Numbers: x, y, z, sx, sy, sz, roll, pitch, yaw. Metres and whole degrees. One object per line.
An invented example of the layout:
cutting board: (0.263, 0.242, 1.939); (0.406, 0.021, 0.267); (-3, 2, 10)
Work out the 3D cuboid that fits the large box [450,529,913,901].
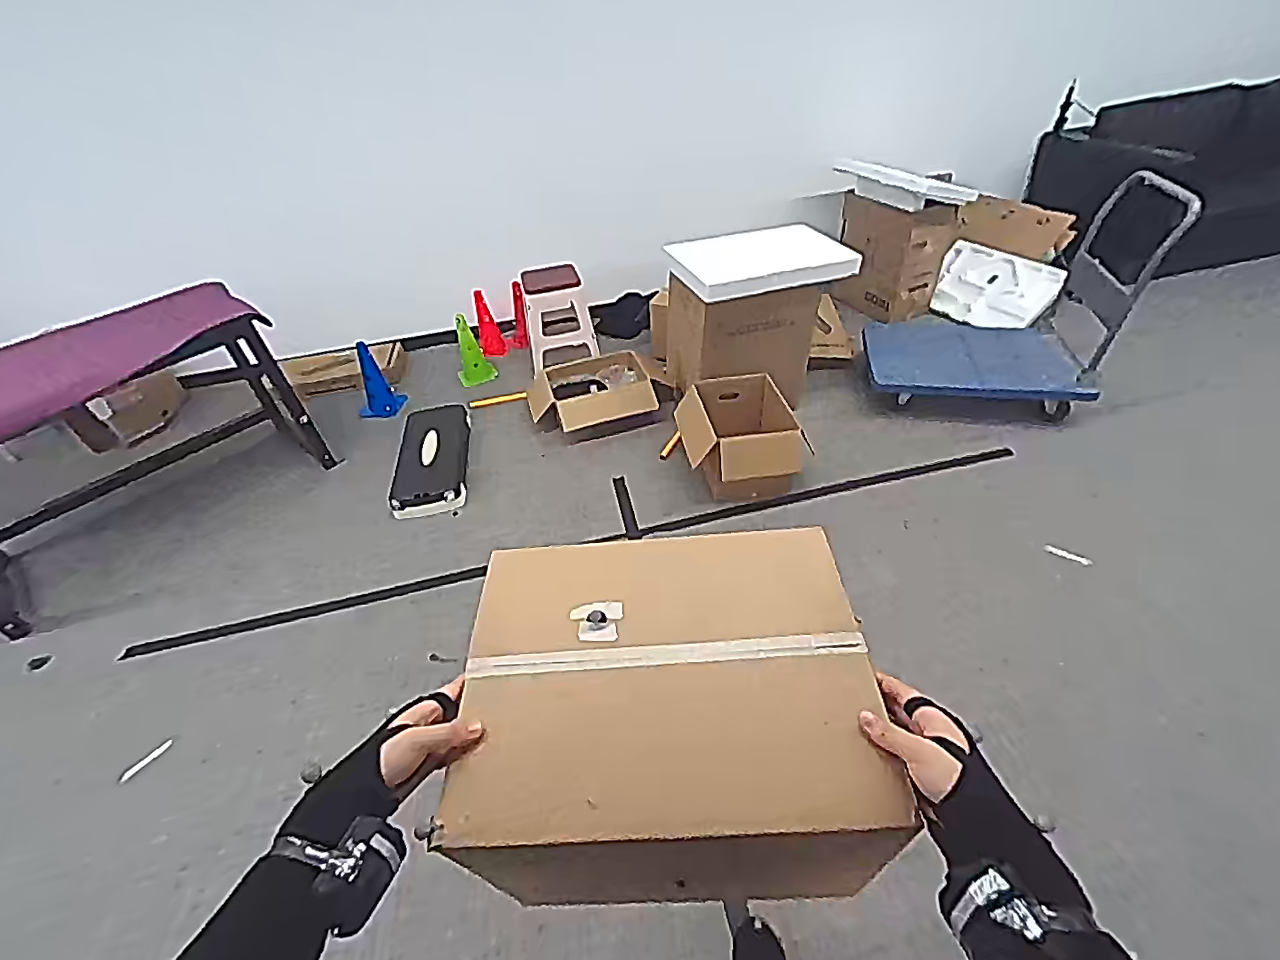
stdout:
large box: (0.045, 0.293, 0.665); (0.408, 0.320, 0.320); (-6, 43, 4)
